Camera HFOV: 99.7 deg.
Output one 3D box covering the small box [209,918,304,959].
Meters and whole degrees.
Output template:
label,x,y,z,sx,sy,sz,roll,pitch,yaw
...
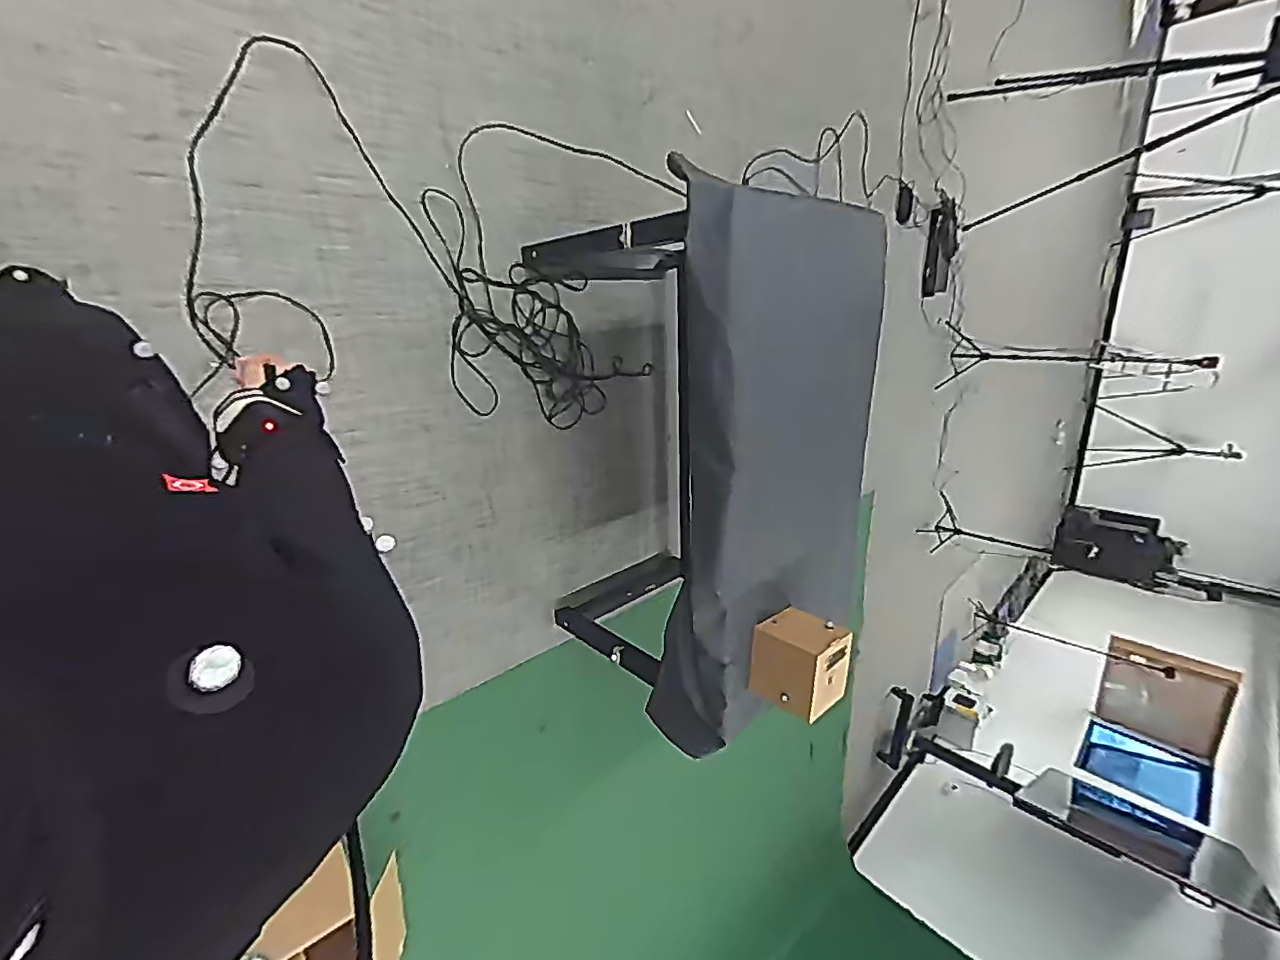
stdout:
label,x,y,z,sx,sy,sz,roll,pitch,yaw
small box,-0.786,1.076,1.118,0.168,0.176,0.179,-13,111,-41
